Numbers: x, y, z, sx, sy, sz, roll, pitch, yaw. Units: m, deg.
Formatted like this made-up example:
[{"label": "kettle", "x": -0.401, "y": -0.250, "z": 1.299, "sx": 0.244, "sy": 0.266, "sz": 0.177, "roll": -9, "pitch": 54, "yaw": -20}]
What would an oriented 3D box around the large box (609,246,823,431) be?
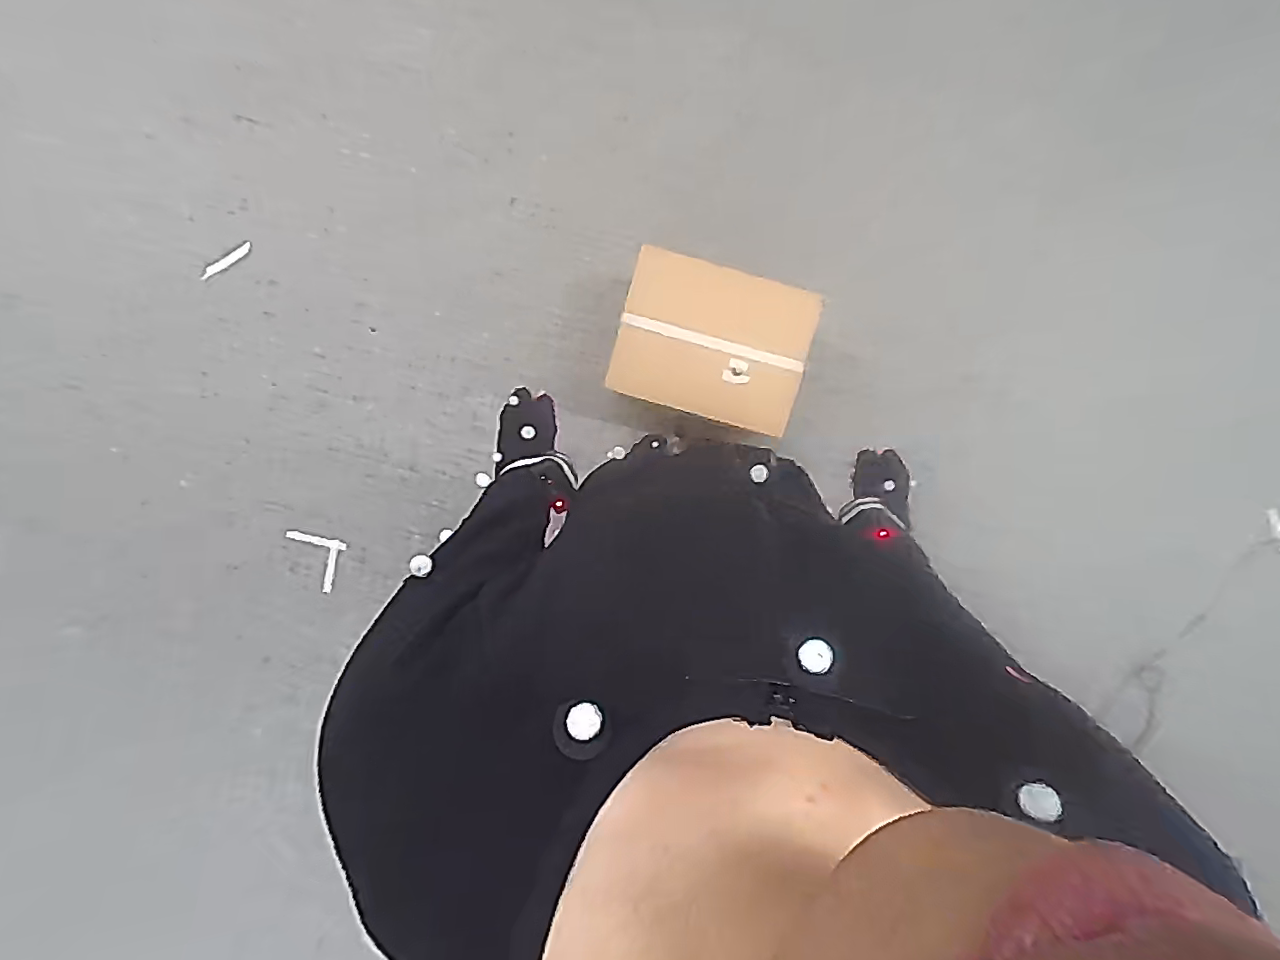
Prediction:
[{"label": "large box", "x": 0.159, "y": -0.316, "z": 1.303, "sx": 0.408, "sy": 0.320, "sz": 0.320, "roll": 15, "pitch": 97, "yaw": -1}]
